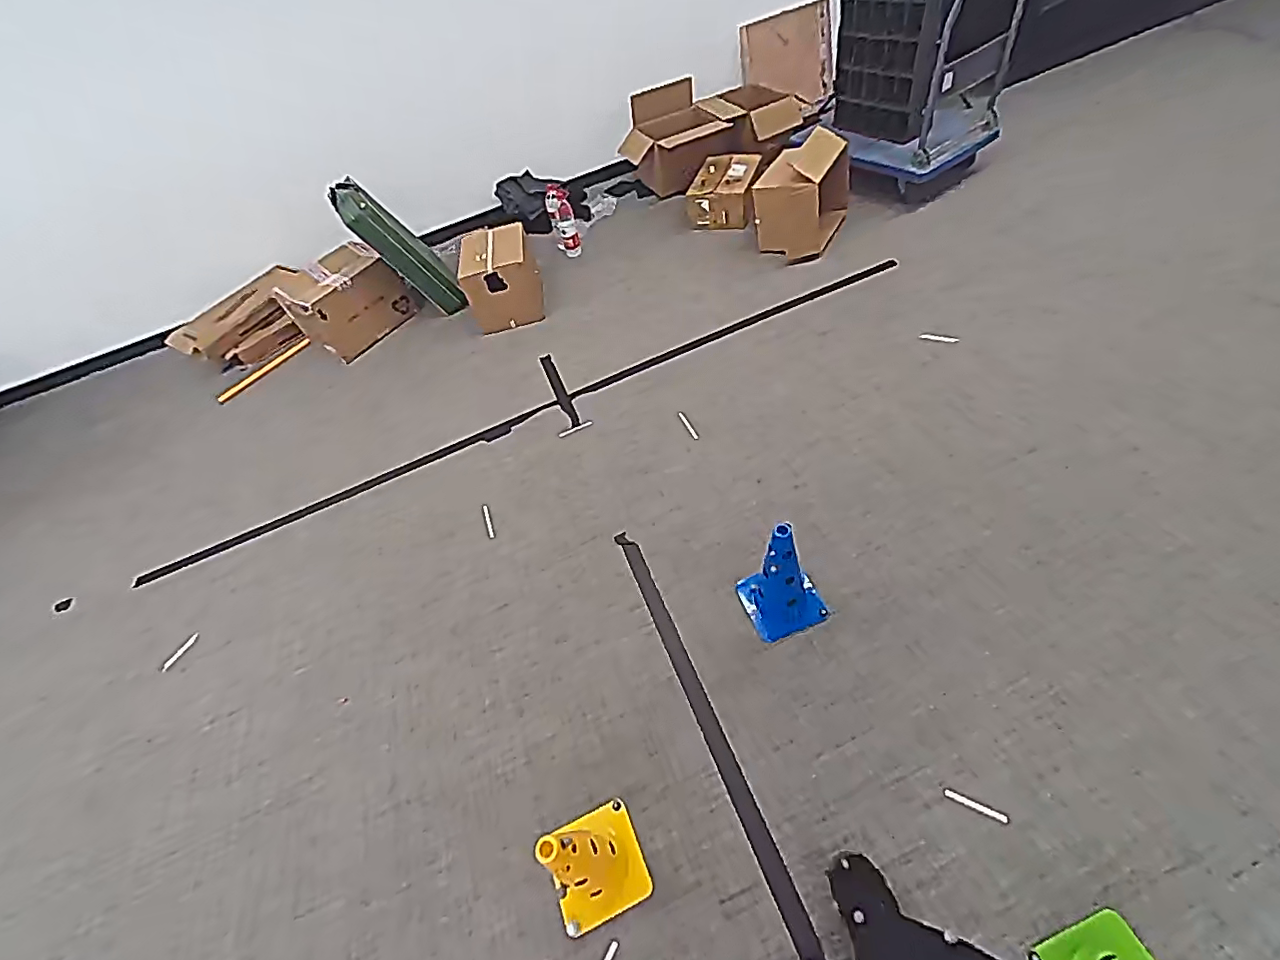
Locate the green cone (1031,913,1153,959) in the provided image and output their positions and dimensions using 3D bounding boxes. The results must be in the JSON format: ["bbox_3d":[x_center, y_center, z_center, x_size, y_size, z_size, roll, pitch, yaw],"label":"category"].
[{"bbox_3d":[0.792,0.789,0.799,0.202,0.368,0.200,-22,49,-6],"label":"green cone"}]

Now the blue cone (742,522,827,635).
[{"bbox_3d":[0.369,0.228,1.391,0.192,0.380,0.193,-20,49,-4],"label":"blue cone"}]
